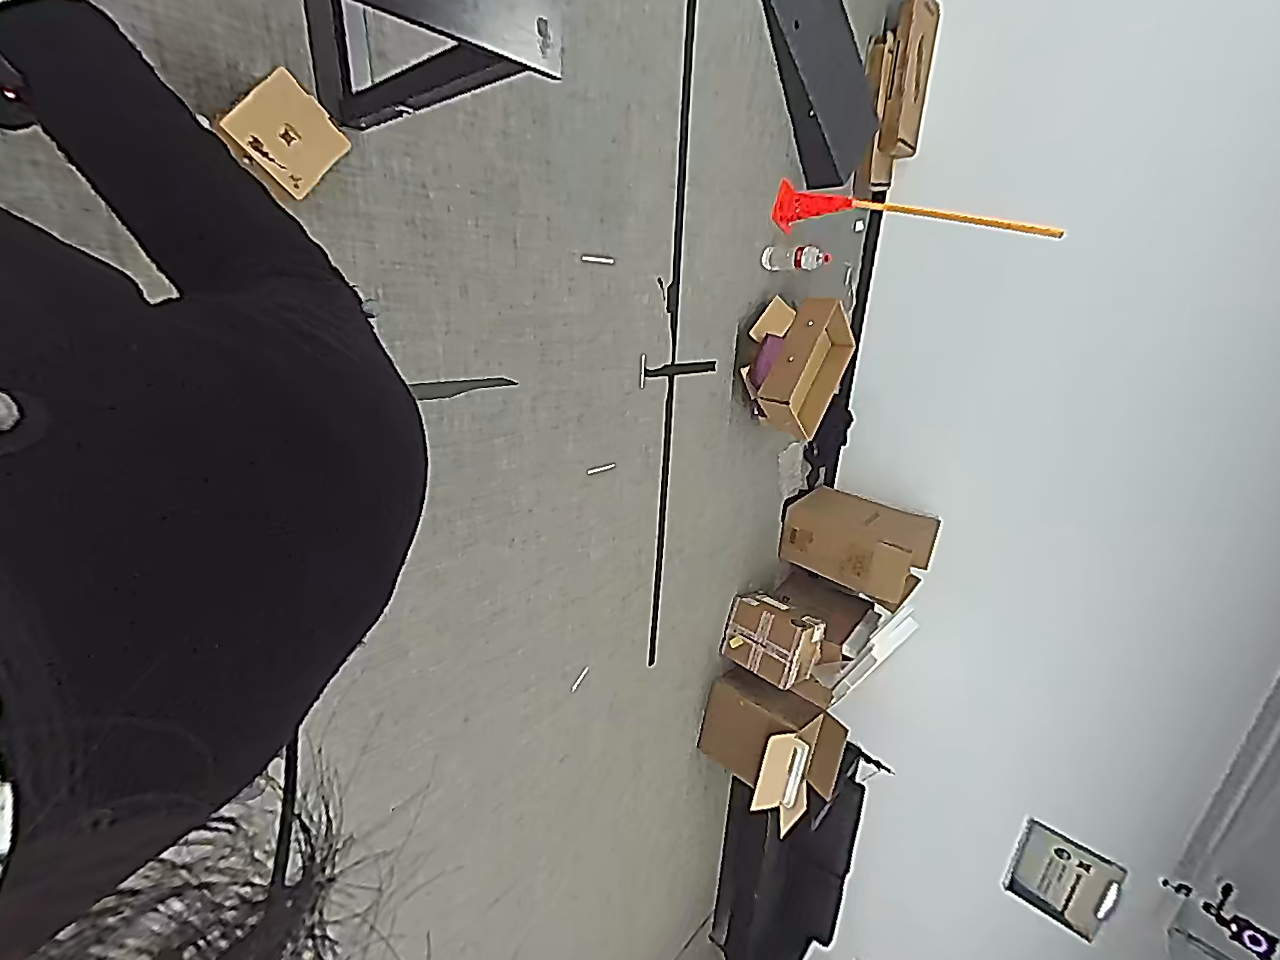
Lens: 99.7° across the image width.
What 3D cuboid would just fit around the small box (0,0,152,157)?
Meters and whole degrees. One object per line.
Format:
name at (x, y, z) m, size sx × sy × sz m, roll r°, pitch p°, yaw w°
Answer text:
small box at (-0.959, -0.667, 0.900) m, size 0.179 × 0.176 × 0.168 m, roll 13°, pitch 95°, yaw -50°

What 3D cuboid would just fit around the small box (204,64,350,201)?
small box at (-0.754, -0.709, 1.119) m, size 0.179 × 0.176 × 0.168 m, roll -59°, pitch 140°, yaw -14°
